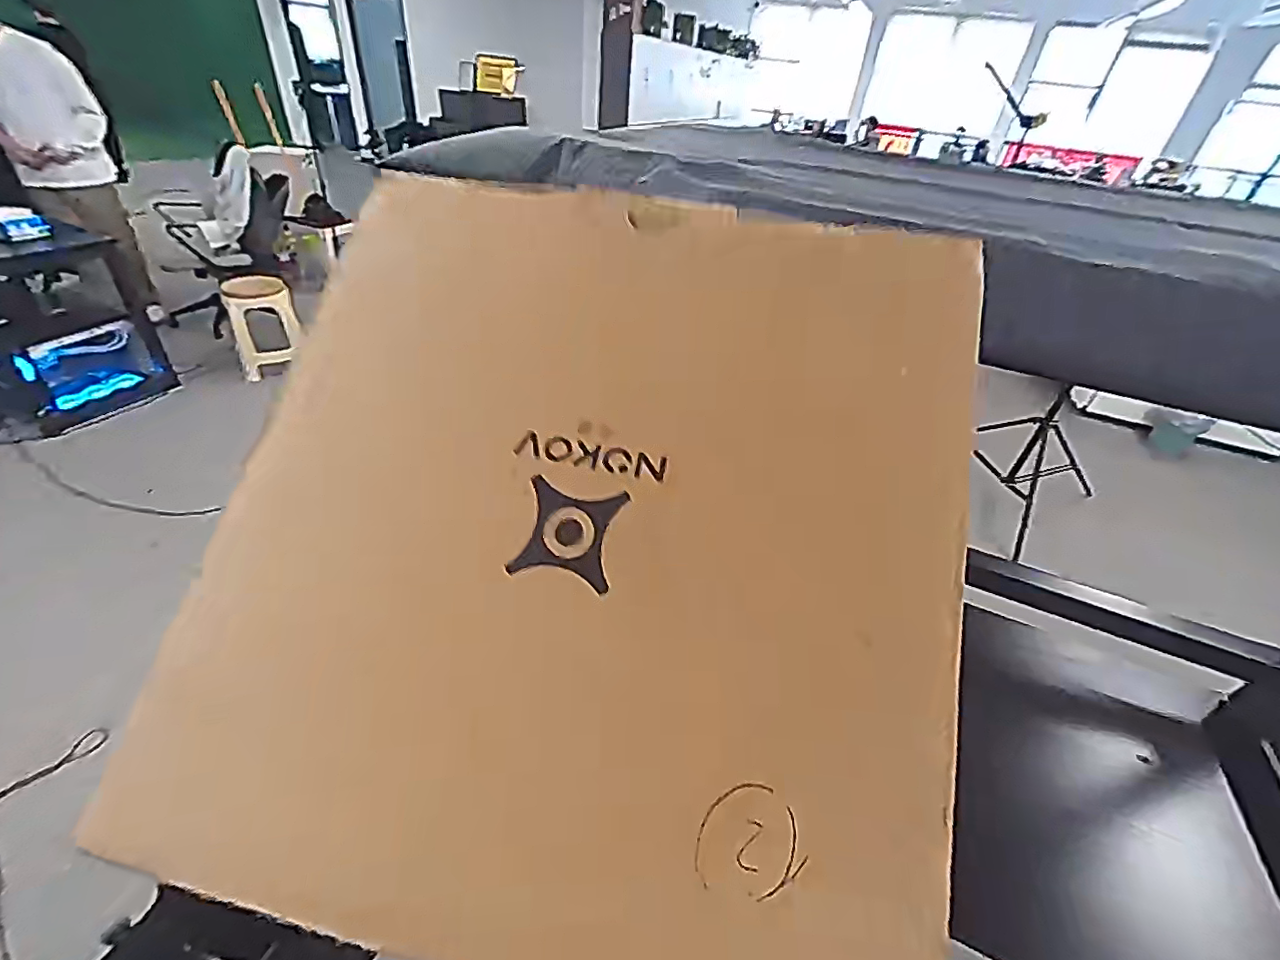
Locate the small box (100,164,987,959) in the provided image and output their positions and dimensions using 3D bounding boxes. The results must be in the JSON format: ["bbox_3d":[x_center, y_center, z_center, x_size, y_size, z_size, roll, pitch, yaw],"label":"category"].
[{"bbox_3d":[-0.006,0.028,0.196,0.168,0.176,0.179,10,73,8],"label":"small box"}]
